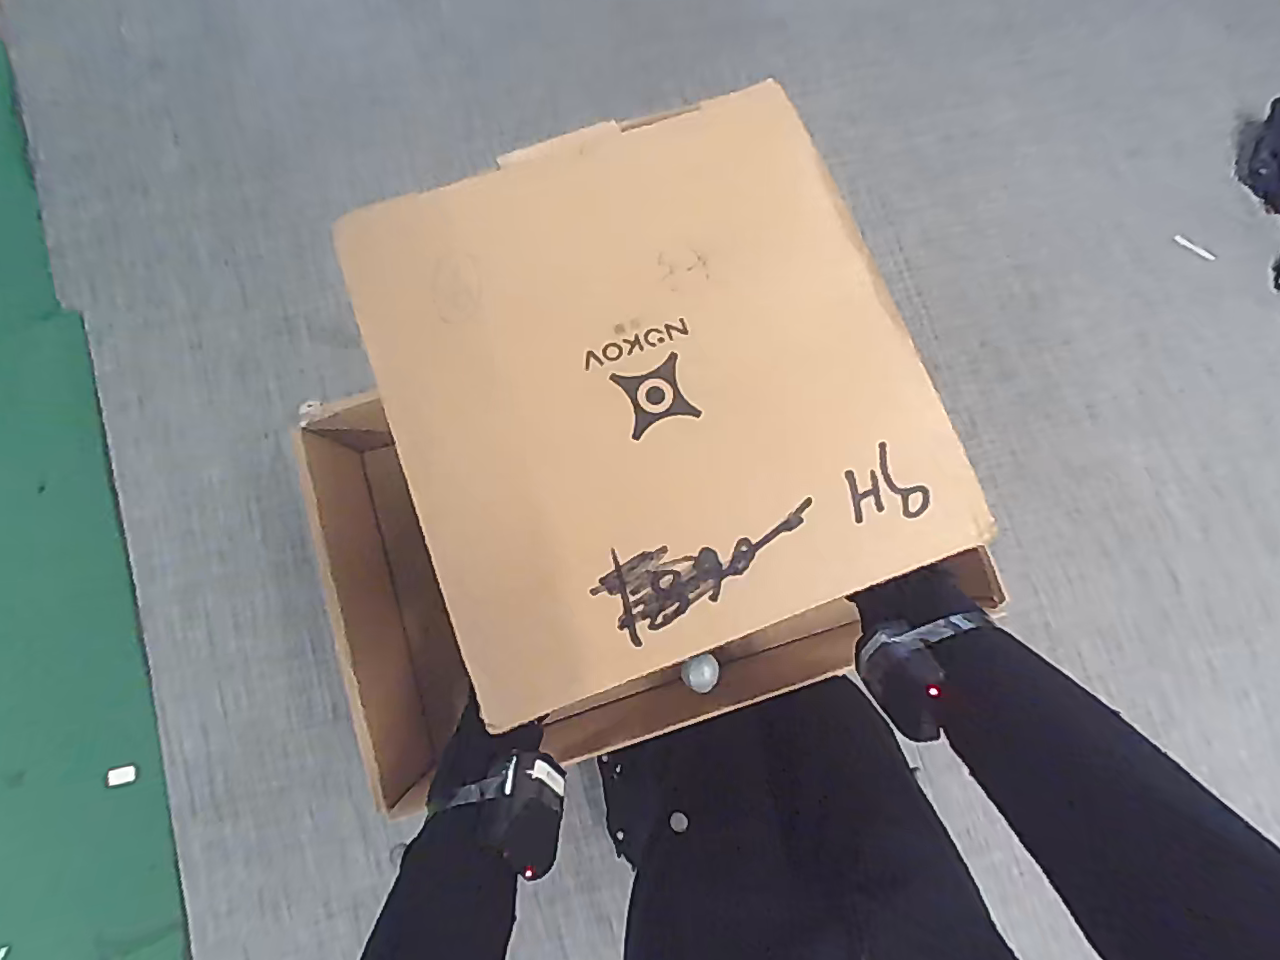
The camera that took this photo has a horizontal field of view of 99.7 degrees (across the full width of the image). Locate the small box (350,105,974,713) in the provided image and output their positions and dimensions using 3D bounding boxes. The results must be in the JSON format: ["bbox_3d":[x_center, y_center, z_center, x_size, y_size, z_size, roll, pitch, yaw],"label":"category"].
[{"bbox_3d":[0.002,-0.019,0.259,0.168,0.176,0.179,-20,79,-2],"label":"small box"}]
